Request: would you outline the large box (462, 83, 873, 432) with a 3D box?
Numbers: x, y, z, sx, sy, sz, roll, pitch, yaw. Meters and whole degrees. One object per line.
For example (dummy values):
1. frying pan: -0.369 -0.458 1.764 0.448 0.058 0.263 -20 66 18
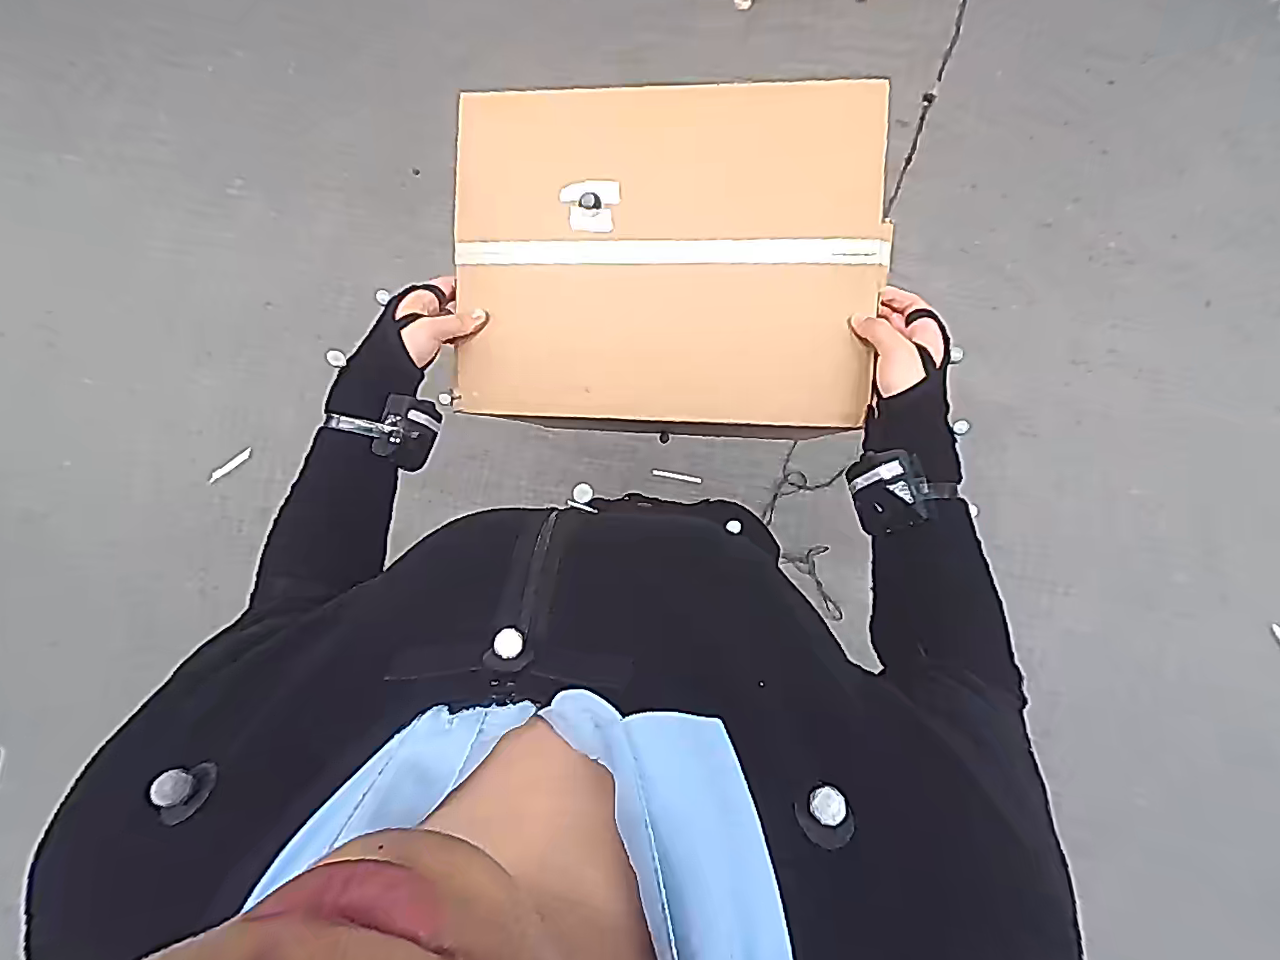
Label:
1. large box: 0.039 -0.220 0.673 0.408 0.320 0.320 2 91 8
